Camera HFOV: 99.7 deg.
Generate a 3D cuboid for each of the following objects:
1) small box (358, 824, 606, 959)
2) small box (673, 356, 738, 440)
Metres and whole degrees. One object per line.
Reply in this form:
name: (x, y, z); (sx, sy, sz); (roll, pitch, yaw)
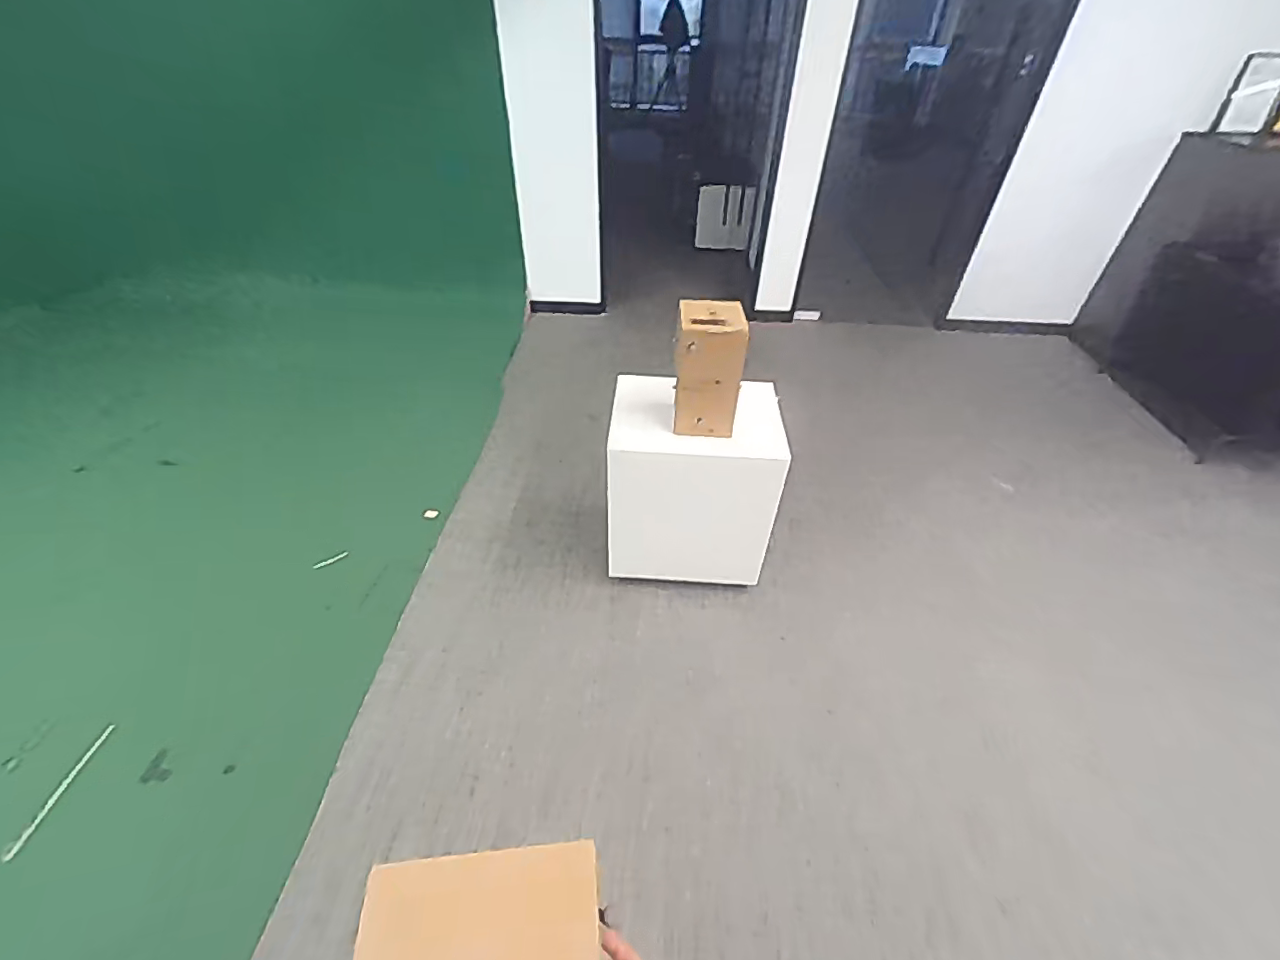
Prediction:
small box: (-0.109, 0.386, 0.406); (0.168, 0.176, 0.179); (-2, 46, -6)
small box: (0.181, -0.235, 1.548); (0.168, 0.176, 0.179); (3, 41, 1)
